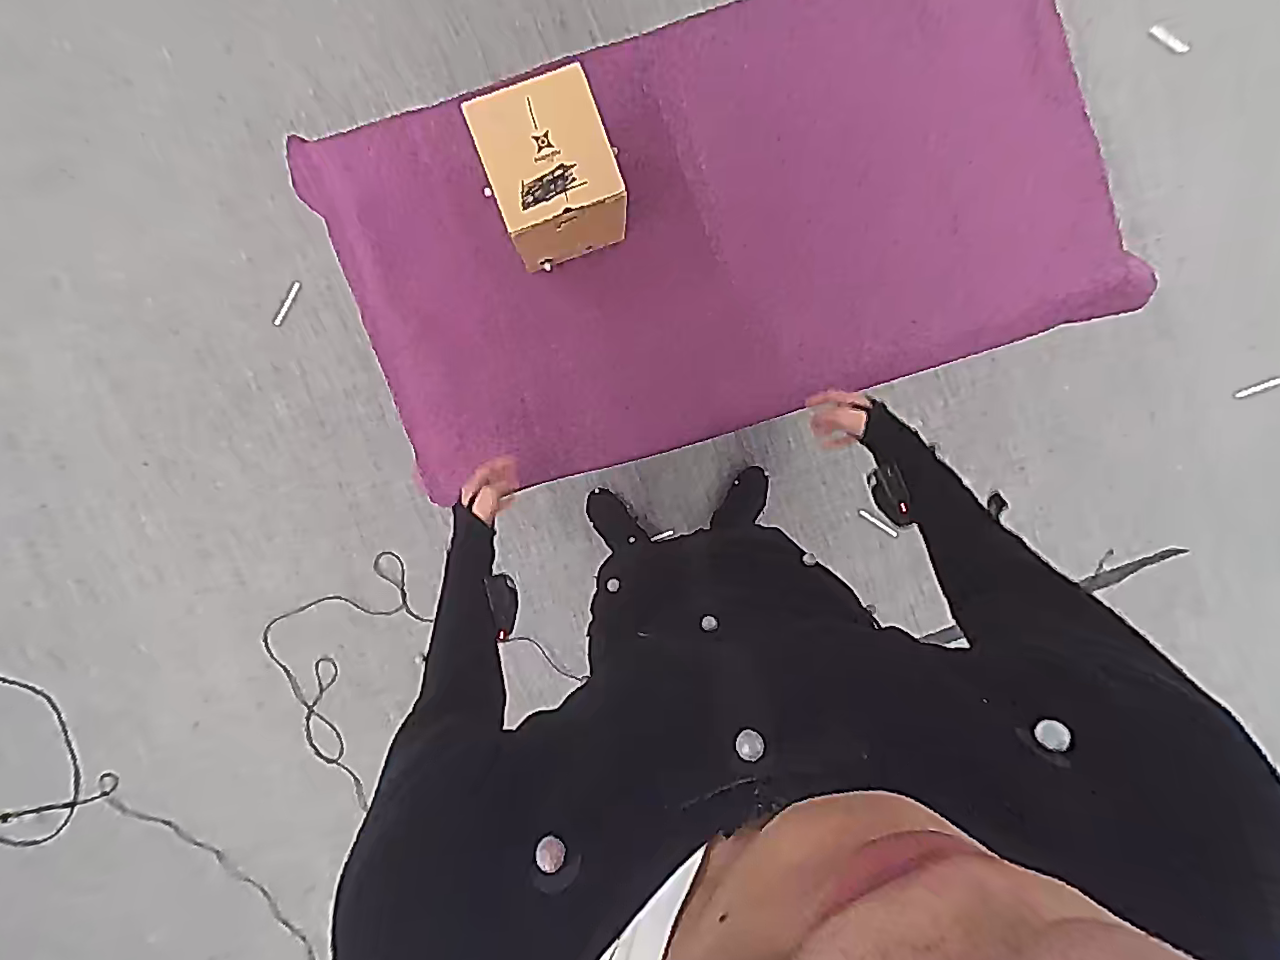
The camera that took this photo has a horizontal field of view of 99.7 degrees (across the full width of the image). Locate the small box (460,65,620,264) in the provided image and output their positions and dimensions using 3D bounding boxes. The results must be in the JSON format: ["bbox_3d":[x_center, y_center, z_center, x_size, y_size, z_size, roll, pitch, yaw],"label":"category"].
[{"bbox_3d":[-0.131,-0.434,0.781,0.168,0.176,0.179,-20,94,-1],"label":"small box"}]
